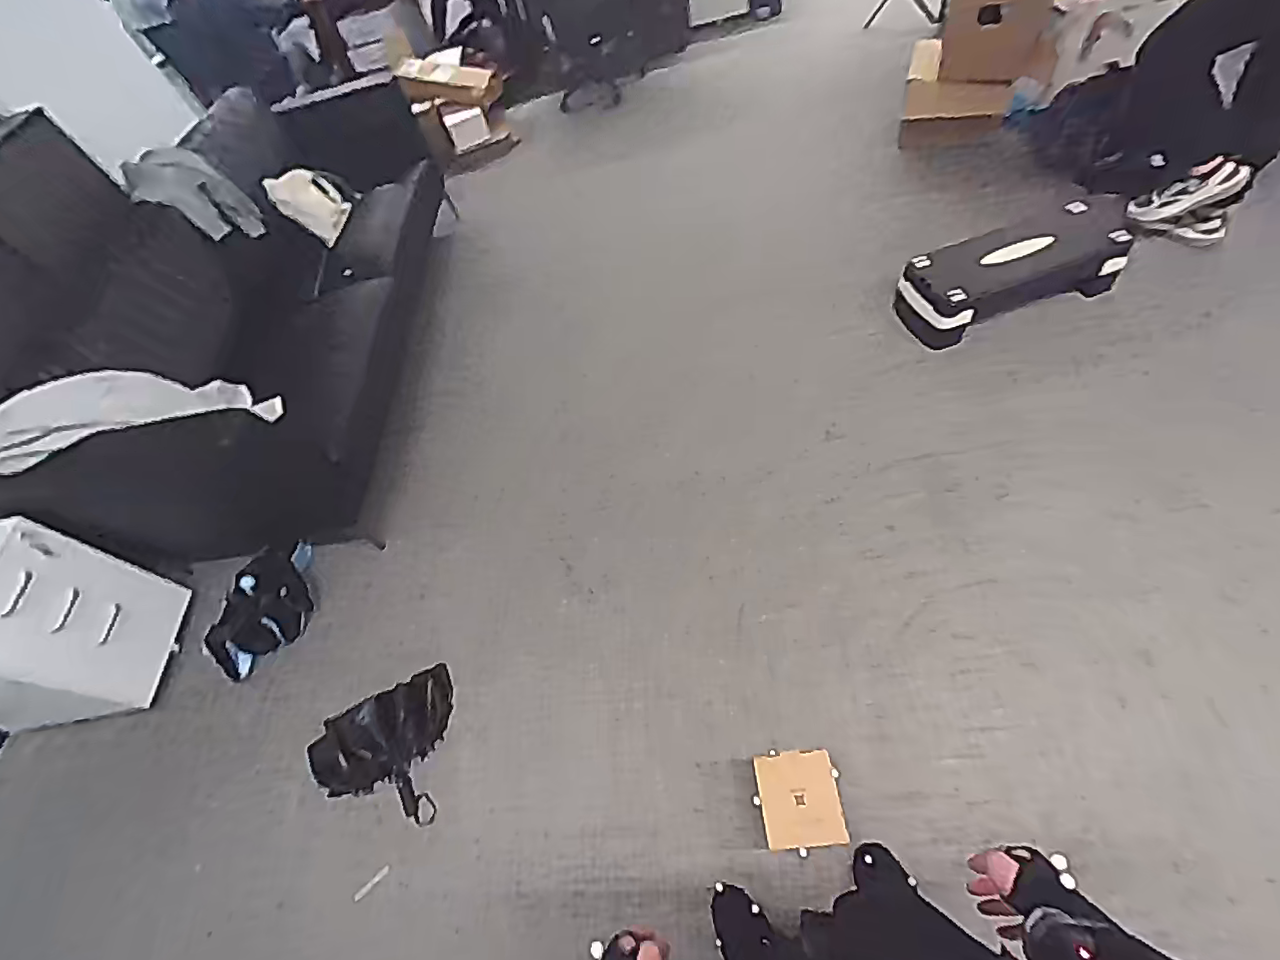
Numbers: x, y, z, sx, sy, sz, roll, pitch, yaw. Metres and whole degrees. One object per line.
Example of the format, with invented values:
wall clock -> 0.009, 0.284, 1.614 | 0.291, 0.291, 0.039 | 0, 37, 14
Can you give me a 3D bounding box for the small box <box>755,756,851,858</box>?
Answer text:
small box -> 0.358, 0.734, 1.213 | 0.168, 0.176, 0.179 | -12, 56, 8
